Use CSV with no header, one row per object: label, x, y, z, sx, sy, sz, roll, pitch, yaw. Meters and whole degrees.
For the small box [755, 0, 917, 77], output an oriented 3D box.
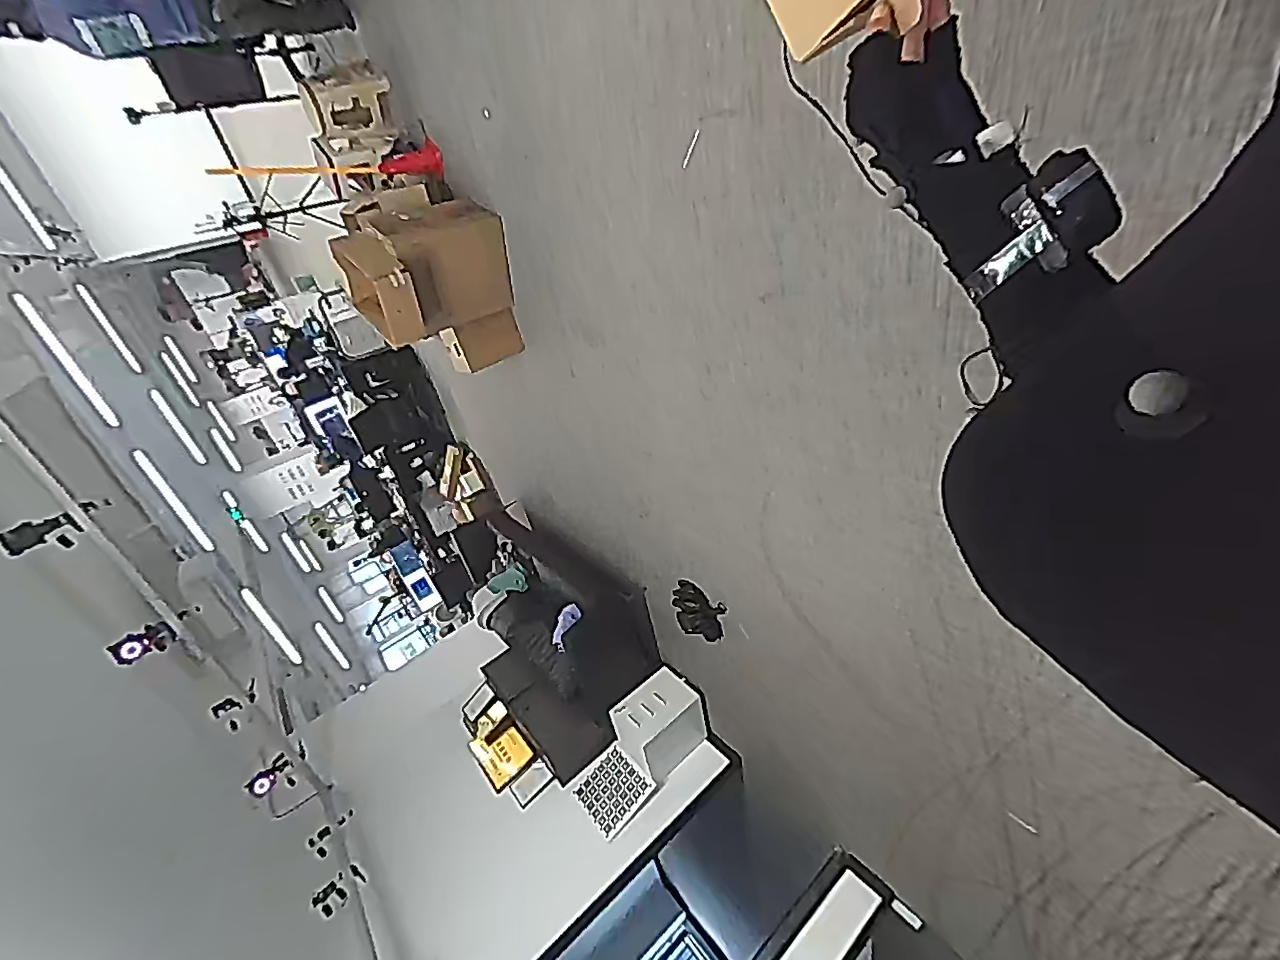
small box,0.176,-0.451,0.384,0.179,0.176,0.168,57,161,-15
